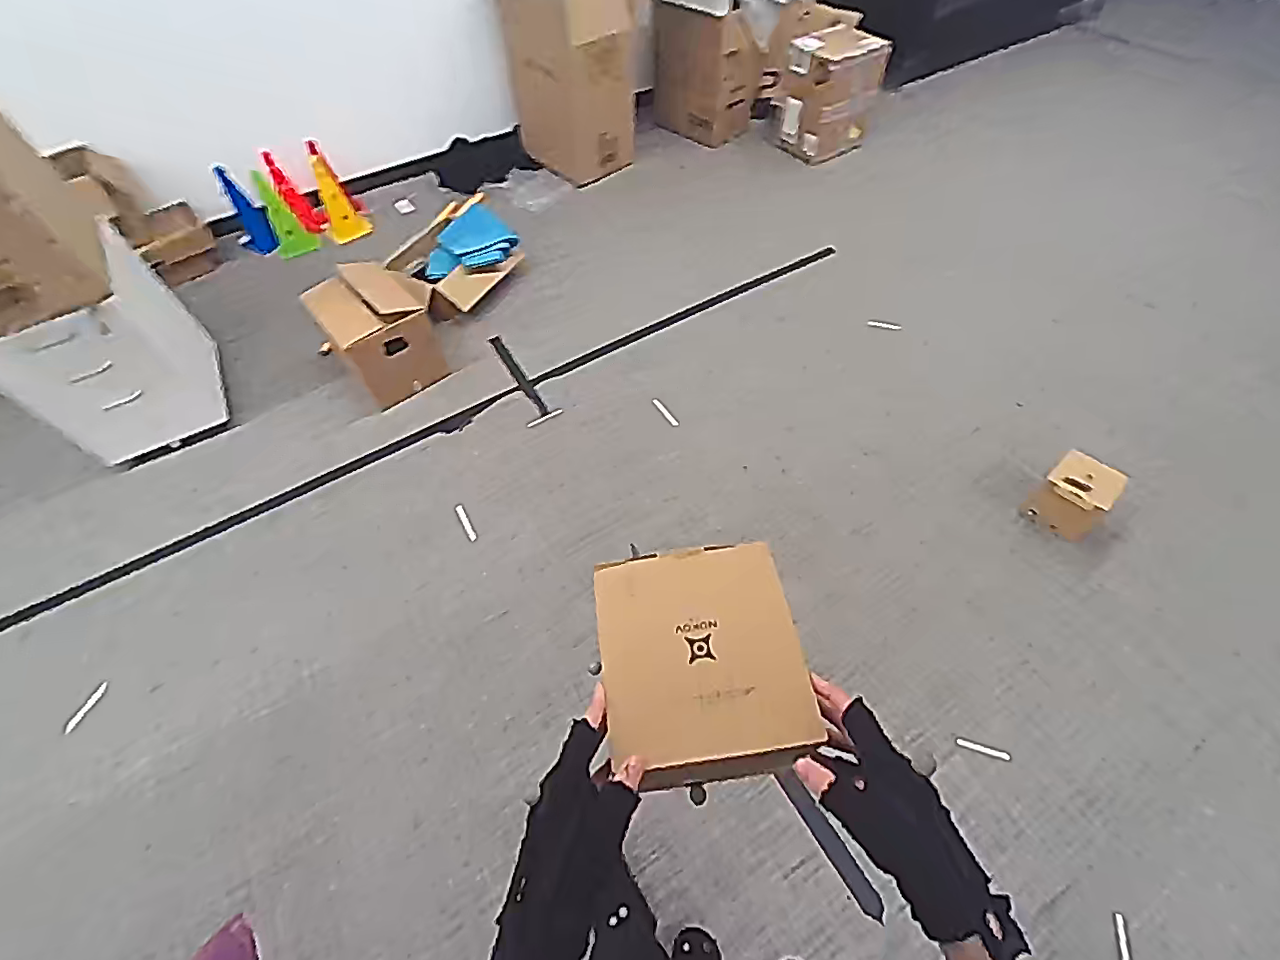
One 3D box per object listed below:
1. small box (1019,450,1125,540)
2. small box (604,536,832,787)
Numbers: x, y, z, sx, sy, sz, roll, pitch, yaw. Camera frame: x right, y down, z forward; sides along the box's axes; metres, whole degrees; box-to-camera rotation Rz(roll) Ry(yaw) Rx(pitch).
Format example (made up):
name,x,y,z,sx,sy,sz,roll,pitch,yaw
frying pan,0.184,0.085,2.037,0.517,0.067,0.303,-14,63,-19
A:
name,x,y,z,sx,sy,sz,roll,pitch,yaw
small box,1.294,0.050,1.635,0.179,0.176,0.168,-38,61,-23
small box,0.058,0.177,0.518,0.168,0.176,0.179,-7,55,-3
